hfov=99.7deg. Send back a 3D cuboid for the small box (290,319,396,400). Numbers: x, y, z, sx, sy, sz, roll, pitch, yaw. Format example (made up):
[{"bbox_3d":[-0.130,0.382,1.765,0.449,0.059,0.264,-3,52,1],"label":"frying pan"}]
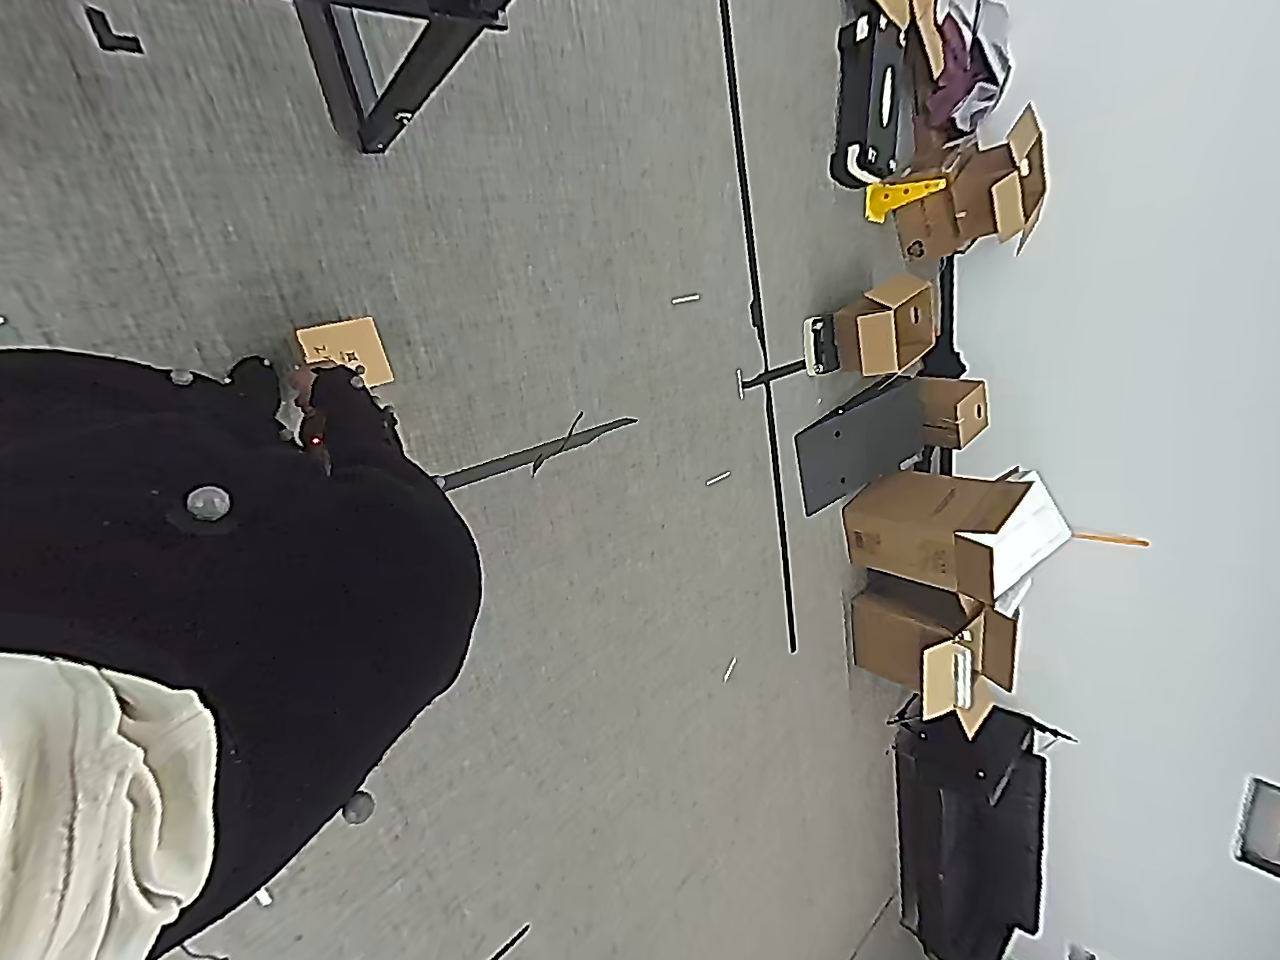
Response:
[{"bbox_3d":[-0.758,-0.309,1.377,0.179,0.176,0.168,-26,113,-33],"label":"small box"}]
